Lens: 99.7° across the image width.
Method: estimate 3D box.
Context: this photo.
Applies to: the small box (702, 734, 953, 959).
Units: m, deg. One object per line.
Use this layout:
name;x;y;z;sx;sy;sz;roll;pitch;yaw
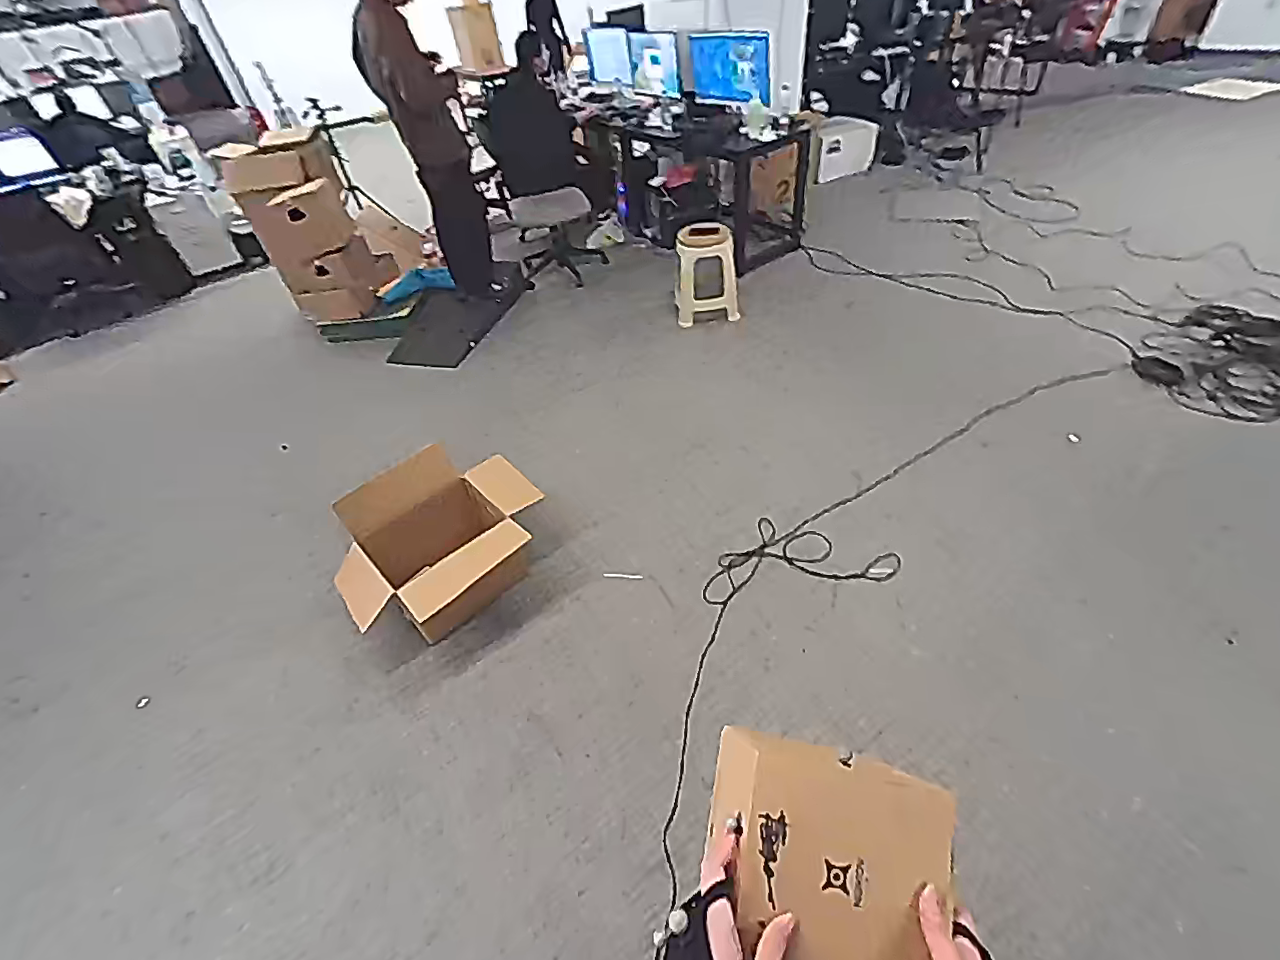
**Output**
small box;0.169;0.359;0.525;0.179;0.176;0.168;12;72;2
